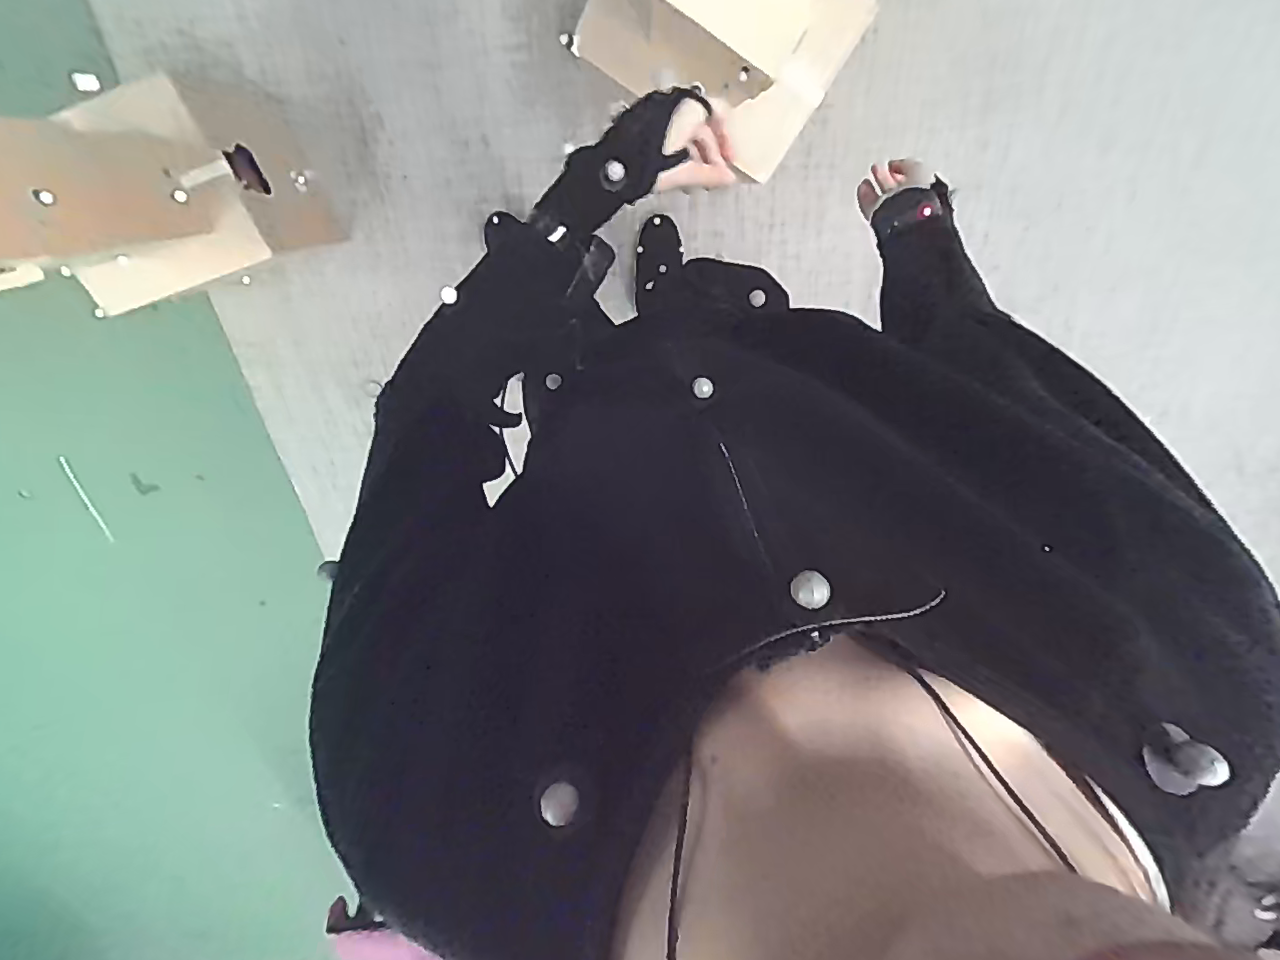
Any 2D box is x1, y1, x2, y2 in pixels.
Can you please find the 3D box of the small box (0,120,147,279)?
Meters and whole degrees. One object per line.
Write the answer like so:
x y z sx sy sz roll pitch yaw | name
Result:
-0.891 -0.405 0.783 0.168 0.176 0.179 -10 119 6 | small box

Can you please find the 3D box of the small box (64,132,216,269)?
-0.899 -0.478 0.930 0.179 0.176 0.168 -12 119 7 | small box

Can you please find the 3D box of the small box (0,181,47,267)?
-0.897 -0.326 0.639 0.168 0.176 0.179 -12 120 7 | small box

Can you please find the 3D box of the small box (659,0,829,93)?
0.134 -0.610 0.659 0.179 0.176 0.168 25 116 -14 | small box

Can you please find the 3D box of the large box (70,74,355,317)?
-0.922 -0.587 1.150 0.408 0.320 0.320 -14 116 10 | large box
